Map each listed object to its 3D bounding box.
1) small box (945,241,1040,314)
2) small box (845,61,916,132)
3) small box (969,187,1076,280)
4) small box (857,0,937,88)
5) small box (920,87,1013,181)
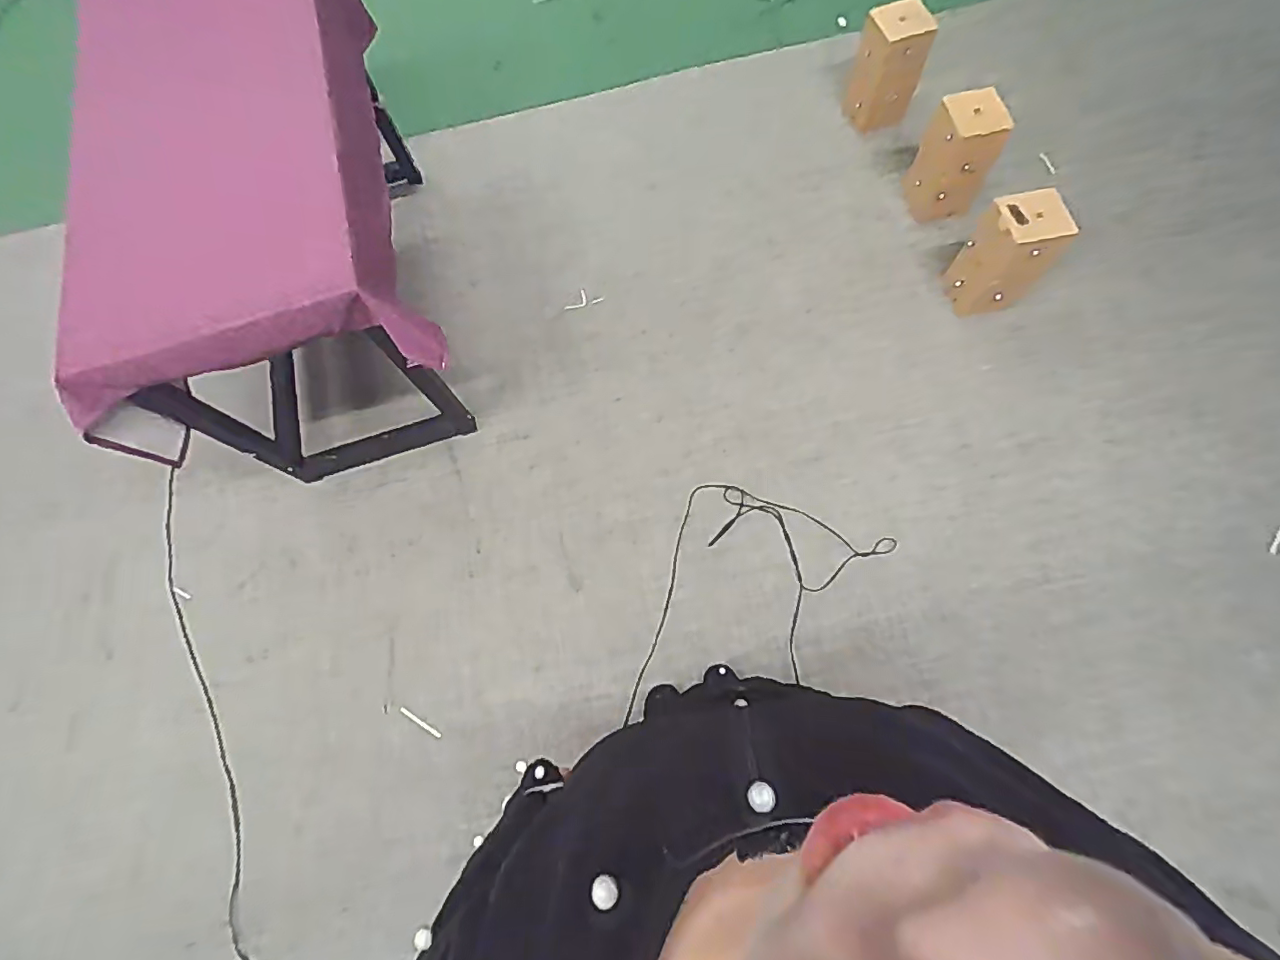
[{"bbox_3d":[1.103,-0.651,1.715,0.179,0.176,0.168,-12,71,1],"label":"small box"},{"bbox_3d":[0.876,-1.428,1.996,0.179,0.176,0.168,-15,72,-2],"label":"small box"},{"bbox_3d":[1.087,-0.704,1.560,0.179,0.176,0.168,-10,71,0],"label":"small box"},{"bbox_3d":[0.862,-1.481,1.841,0.179,0.176,0.168,-16,72,-2],"label":"small box"},{"bbox_3d":[1.011,-1.079,1.694,0.168,0.176,0.179,-10,71,0],"label":"small box"}]
